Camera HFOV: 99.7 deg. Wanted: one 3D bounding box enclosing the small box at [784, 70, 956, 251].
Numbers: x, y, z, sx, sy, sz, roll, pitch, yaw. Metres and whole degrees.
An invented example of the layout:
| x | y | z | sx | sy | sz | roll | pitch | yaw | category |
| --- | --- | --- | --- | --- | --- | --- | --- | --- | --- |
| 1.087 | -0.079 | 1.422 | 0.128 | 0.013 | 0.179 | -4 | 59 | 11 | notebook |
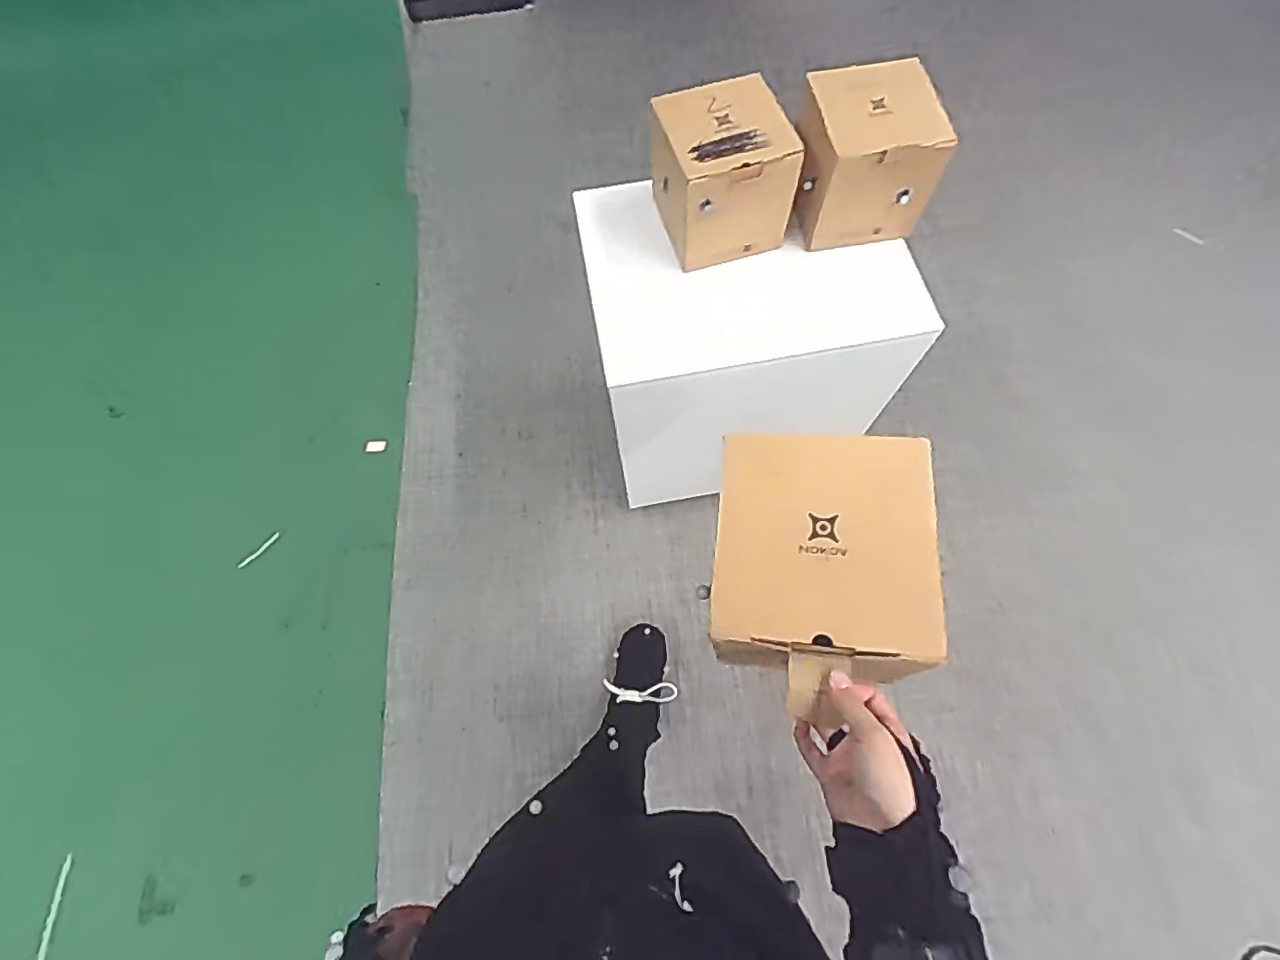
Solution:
| x | y | z | sx | sy | sz | roll | pitch | yaw | category |
| --- | --- | --- | --- | --- | --- | --- | --- | --- | --- |
| 0.332 | -0.471 | 0.820 | 0.168 | 0.176 | 0.179 | -9 | 67 | -1 | small box |

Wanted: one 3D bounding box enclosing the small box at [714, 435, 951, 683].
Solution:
| x | y | z | sx | sy | sz | roll | pitch | yaw | category |
| --- | --- | --- | --- | --- | --- | --- | --- | --- | --- |
| 0.160 | 0.077 | 0.492 | 0.168 | 0.176 | 0.179 | 3 | 66 | 13 | small box |
